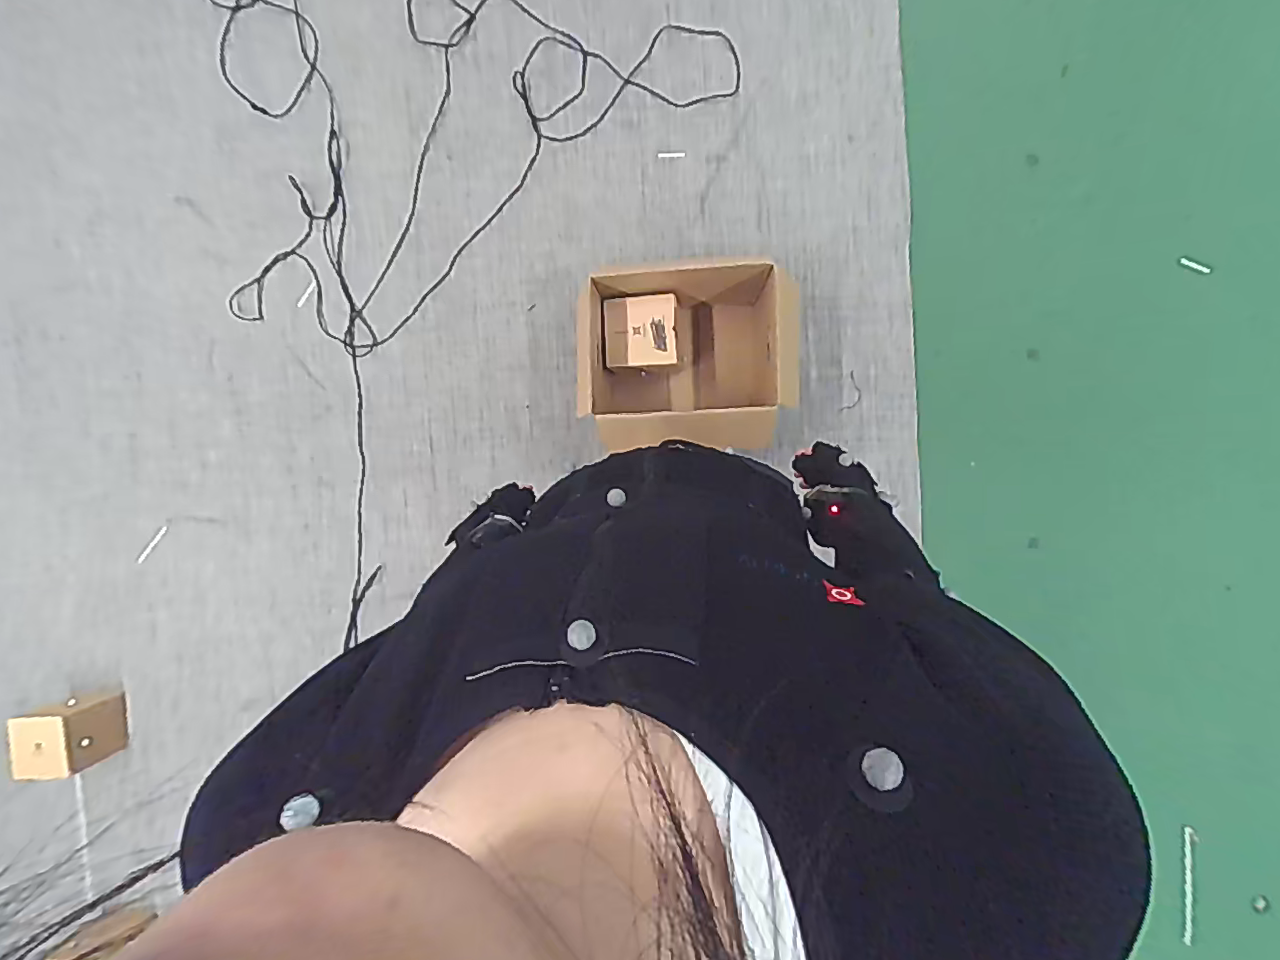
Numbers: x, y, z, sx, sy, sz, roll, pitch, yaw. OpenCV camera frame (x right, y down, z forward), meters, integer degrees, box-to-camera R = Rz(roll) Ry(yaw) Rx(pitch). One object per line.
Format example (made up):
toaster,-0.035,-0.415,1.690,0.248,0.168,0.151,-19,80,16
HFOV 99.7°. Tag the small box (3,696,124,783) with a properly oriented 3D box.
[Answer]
small box,-1.642,0.733,1.549,0.168,0.176,0.179,-4,93,4

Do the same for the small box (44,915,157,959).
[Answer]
small box,-1.573,1.415,1.576,0.179,0.176,0.168,-4,93,4
